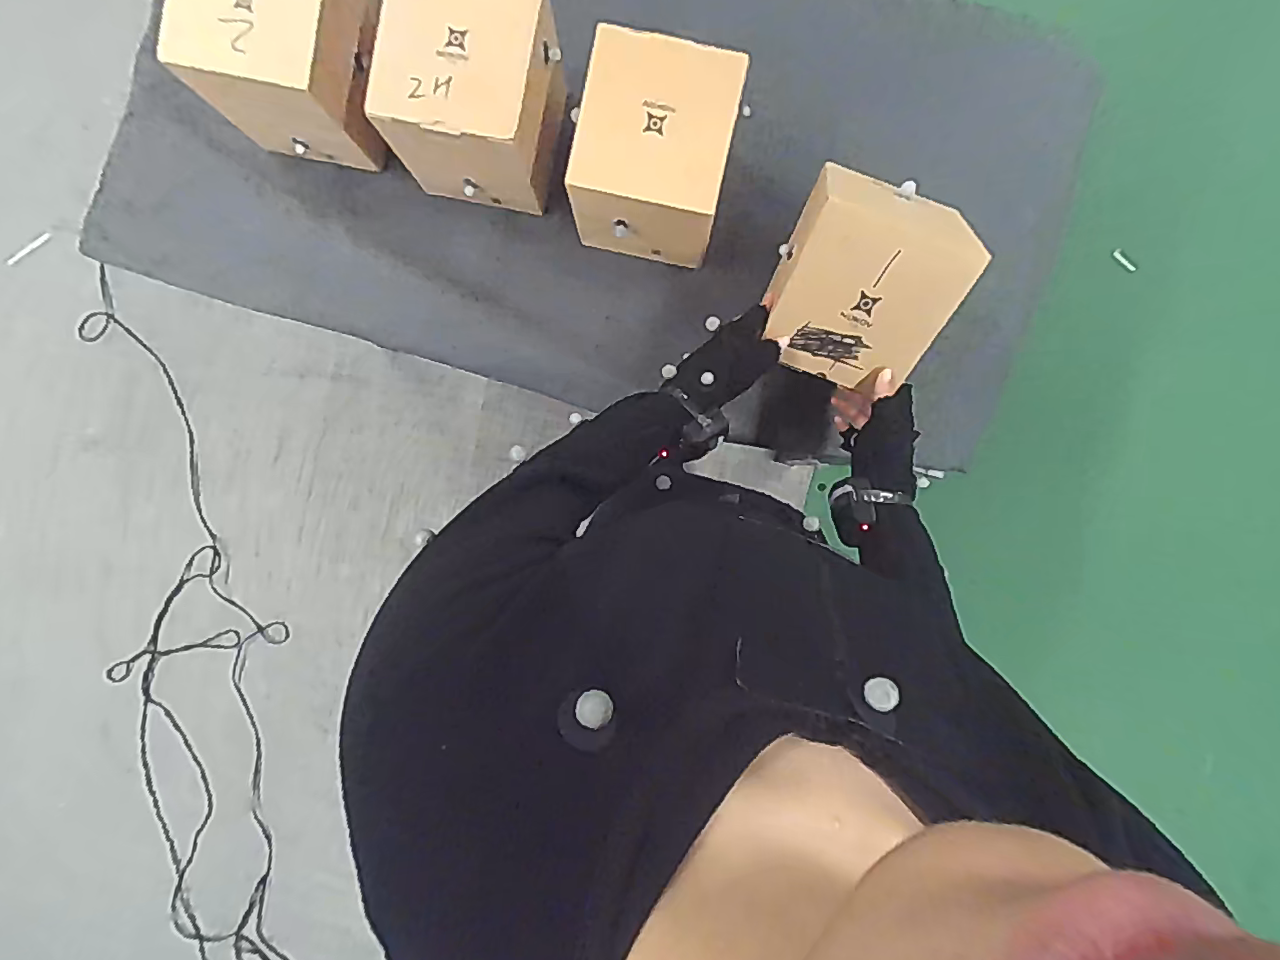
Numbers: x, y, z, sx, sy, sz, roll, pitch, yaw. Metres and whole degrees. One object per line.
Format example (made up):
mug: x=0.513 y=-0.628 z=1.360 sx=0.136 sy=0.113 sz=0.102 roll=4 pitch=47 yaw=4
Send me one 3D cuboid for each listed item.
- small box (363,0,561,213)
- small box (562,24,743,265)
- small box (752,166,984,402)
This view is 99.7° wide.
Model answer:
small box: x=-0.197 y=-0.459 z=0.650 sx=0.168 sy=0.176 sz=0.179 roll=11 pitch=91 yaw=0
small box: x=0.015 y=-0.384 z=0.654 sx=0.168 sy=0.176 sz=0.179 roll=12 pitch=91 yaw=0
small box: x=0.245 y=-0.226 z=0.618 sx=0.168 sy=0.176 sz=0.179 roll=21 pitch=131 yaw=-1
